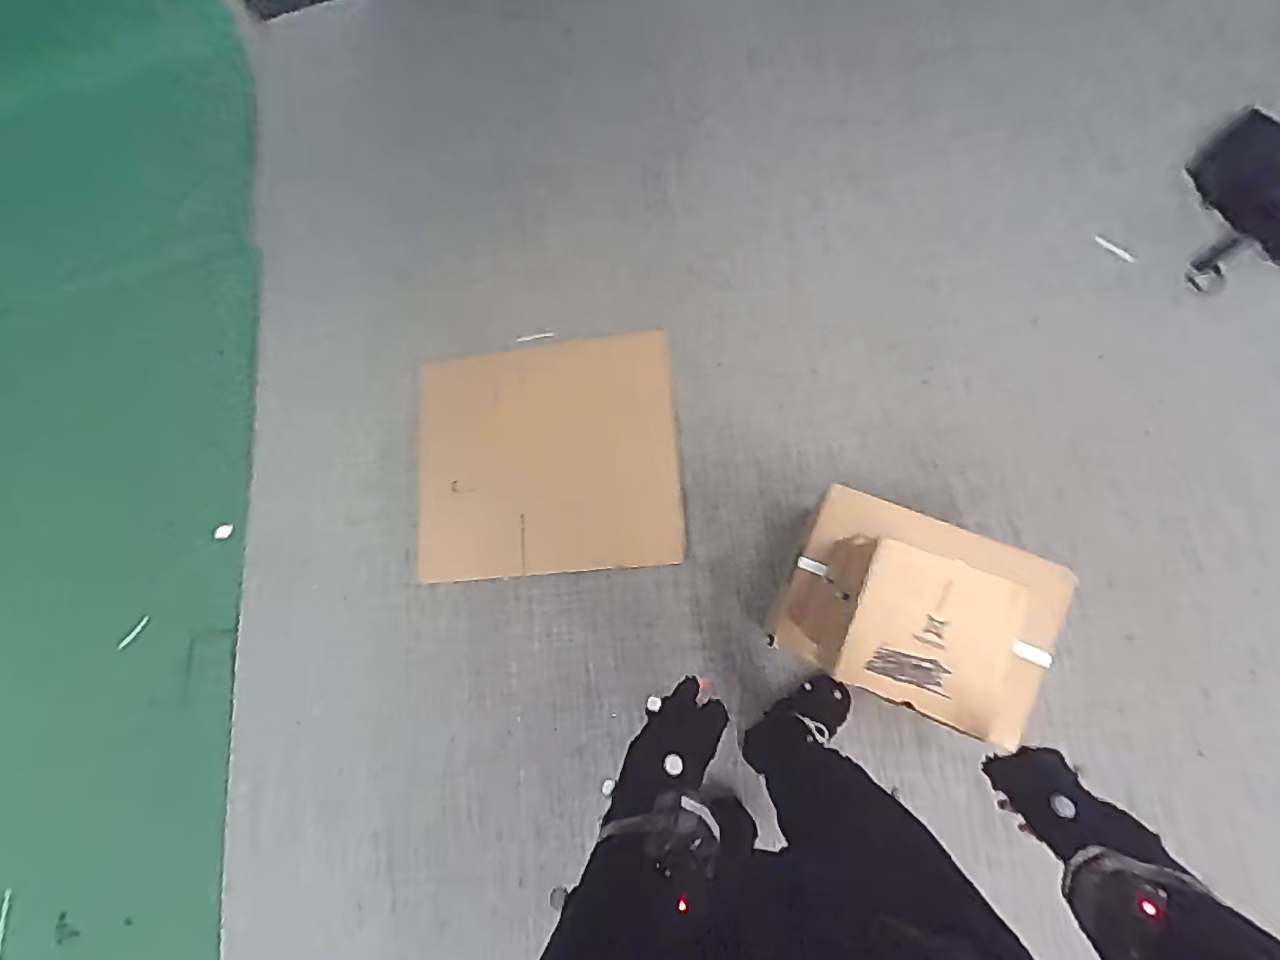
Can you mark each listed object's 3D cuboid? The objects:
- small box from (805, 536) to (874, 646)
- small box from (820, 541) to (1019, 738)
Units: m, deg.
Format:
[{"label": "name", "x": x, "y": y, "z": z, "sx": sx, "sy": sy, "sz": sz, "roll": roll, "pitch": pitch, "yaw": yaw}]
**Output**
[{"label": "small box", "x": 0.371, "y": 0.205, "z": 0.848, "sx": 0.168, "sy": 0.176, "sz": 0.179, "roll": 25, "pitch": 86, "yaw": 15}, {"label": "small box", "x": 0.336, "y": 0.189, "z": 0.688, "sx": 0.168, "sy": 0.176, "sz": 0.179, "roll": 17, "pitch": 84, "yaw": 15}]
